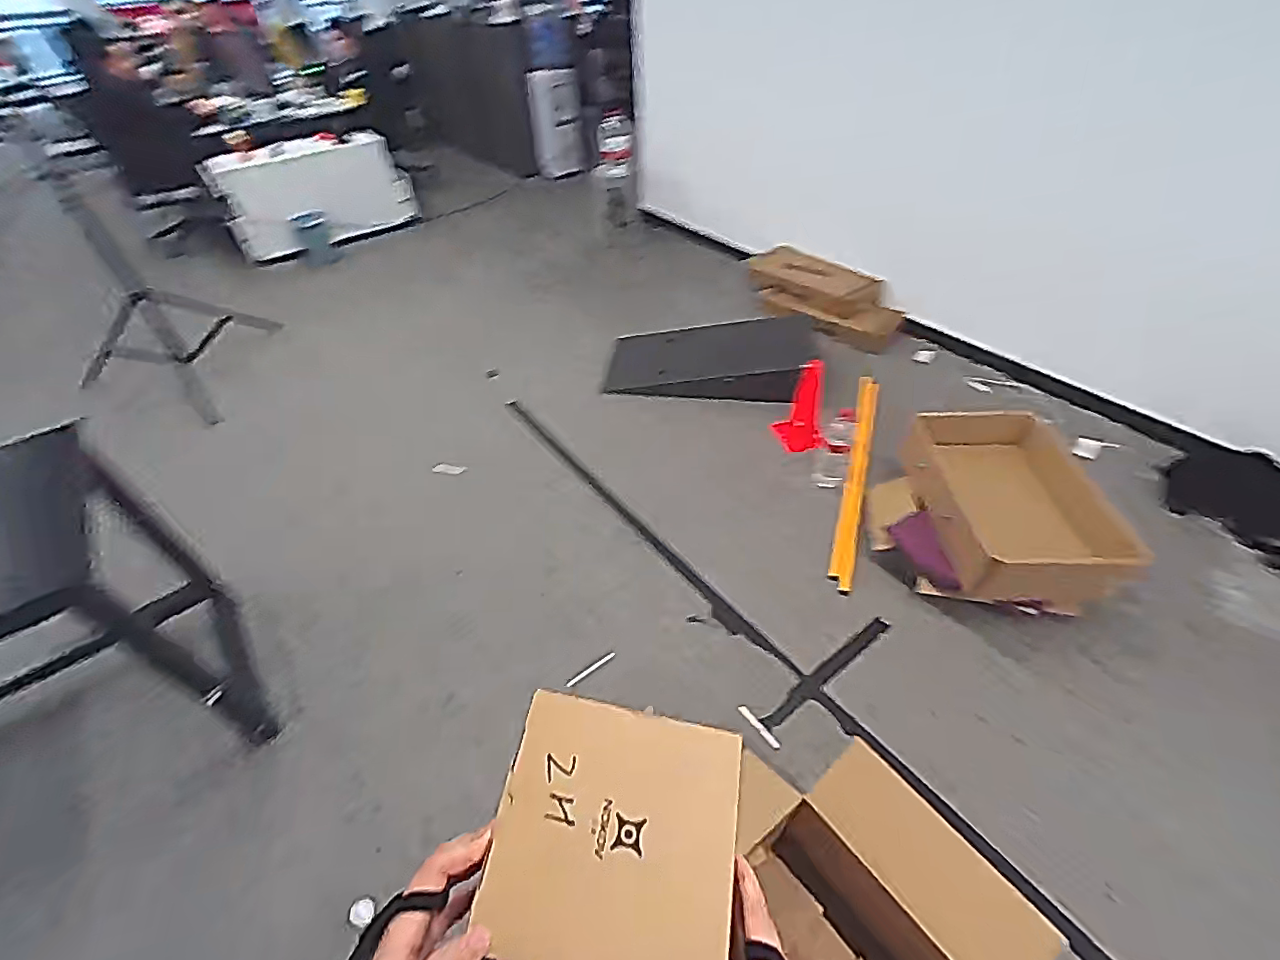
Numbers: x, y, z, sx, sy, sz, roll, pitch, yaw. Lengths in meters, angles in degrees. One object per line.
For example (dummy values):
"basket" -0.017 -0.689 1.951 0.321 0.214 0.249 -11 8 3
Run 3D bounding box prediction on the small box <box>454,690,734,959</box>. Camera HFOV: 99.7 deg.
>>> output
"small box" -0.030 0.297 0.457 0.179 0.176 0.168 11 54 1
